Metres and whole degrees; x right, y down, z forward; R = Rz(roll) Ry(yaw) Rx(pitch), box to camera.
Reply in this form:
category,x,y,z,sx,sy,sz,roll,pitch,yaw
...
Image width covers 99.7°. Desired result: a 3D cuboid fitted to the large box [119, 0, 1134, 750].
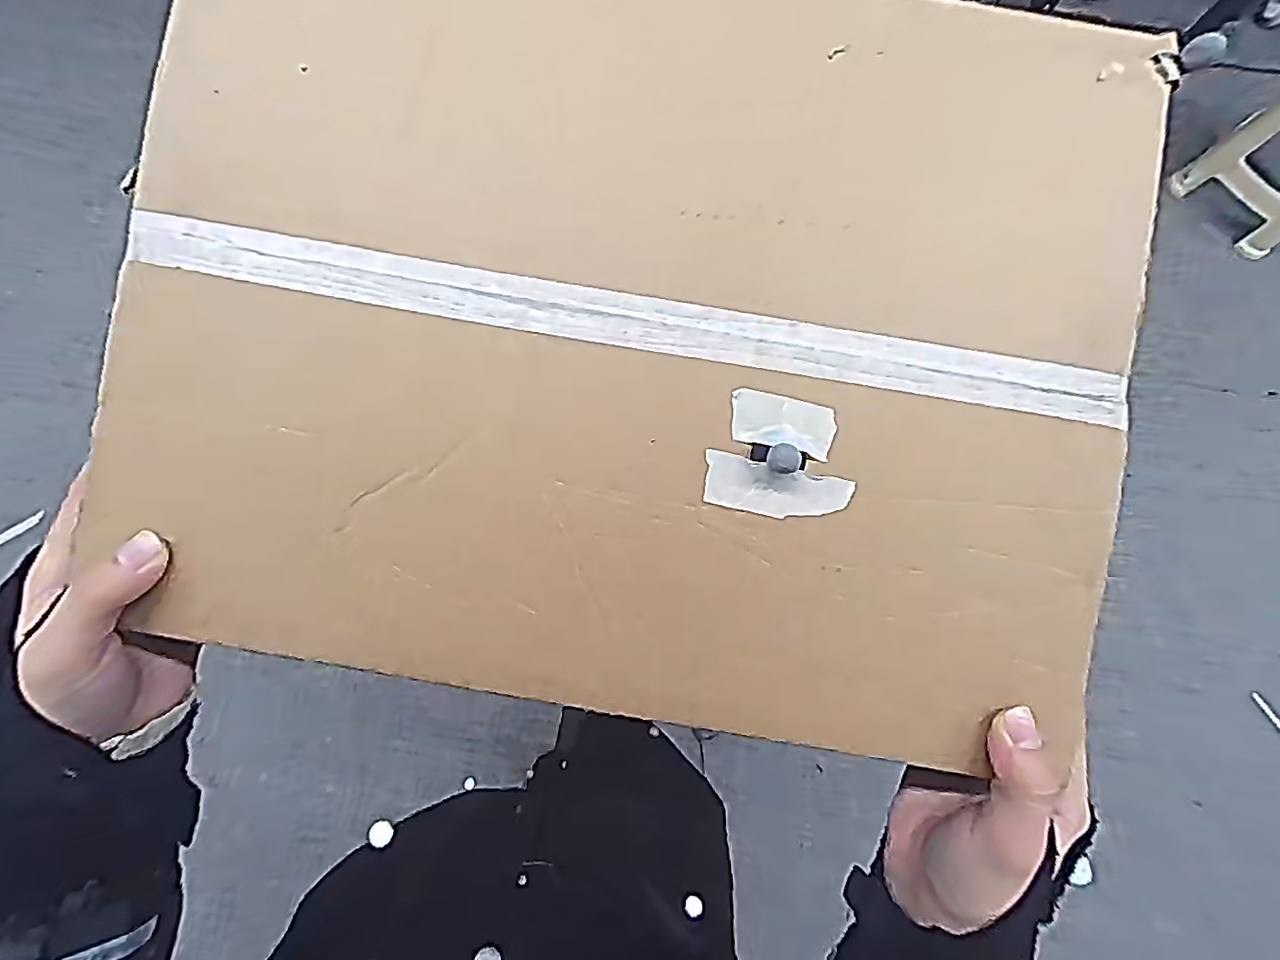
category,x,y,z,sx,sy,sz,roll,pitch,yaw
large box,-0.002,-0.059,0.380,0.408,0.320,0.320,10,89,-1
